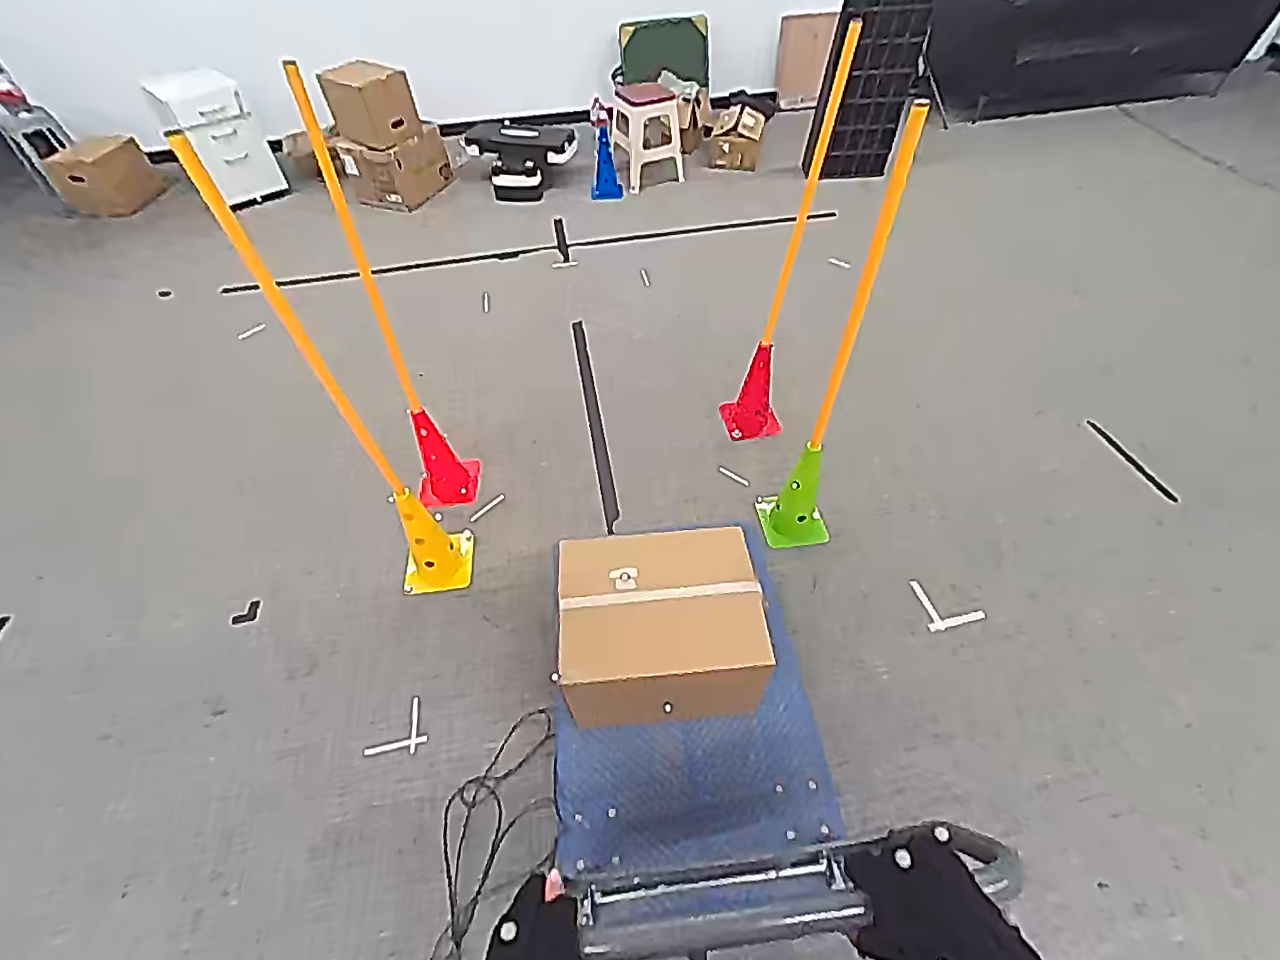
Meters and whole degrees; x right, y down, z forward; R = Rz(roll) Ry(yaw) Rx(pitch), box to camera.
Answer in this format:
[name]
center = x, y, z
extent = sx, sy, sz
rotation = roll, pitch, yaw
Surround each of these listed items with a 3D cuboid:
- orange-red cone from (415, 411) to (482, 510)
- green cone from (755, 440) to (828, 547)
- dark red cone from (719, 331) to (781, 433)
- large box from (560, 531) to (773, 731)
[orange-red cone]
center = -0.671, -0.086, 1.790
extent = 0.198, 0.360, 0.199
rotation = -3, 49, -2
[green cone]
center = 0.494, 0.020, 1.648
extent = 0.202, 0.368, 0.200
rotation = -6, 50, -4
[dark red cone]
center = 0.419, -0.358, 1.944
extent = 0.201, 0.394, 0.202
rotation = -9, 51, -7
[large box]
center = 0.046, 0.343, 1.209
extent = 0.408, 0.320, 0.320
rotation = -6, 50, -1
